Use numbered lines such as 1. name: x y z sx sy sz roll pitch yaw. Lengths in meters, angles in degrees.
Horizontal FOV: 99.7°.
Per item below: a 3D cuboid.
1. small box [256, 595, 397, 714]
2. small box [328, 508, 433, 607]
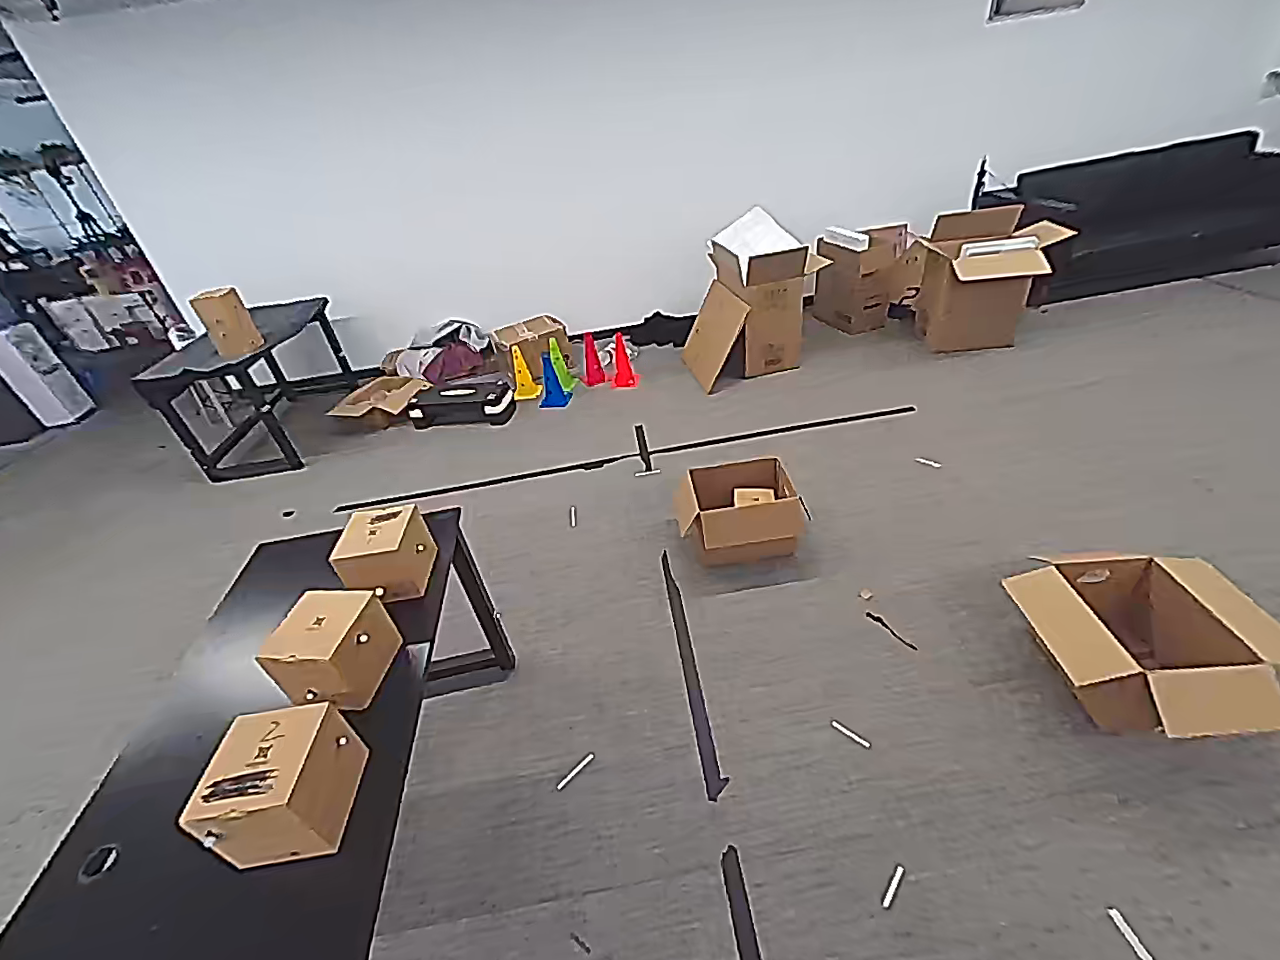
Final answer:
1. small box: -0.641 0.363 1.137 0.168 0.176 0.179 -3 36 9
2. small box: -0.640 0.197 1.363 0.168 0.176 0.179 -10 37 0
